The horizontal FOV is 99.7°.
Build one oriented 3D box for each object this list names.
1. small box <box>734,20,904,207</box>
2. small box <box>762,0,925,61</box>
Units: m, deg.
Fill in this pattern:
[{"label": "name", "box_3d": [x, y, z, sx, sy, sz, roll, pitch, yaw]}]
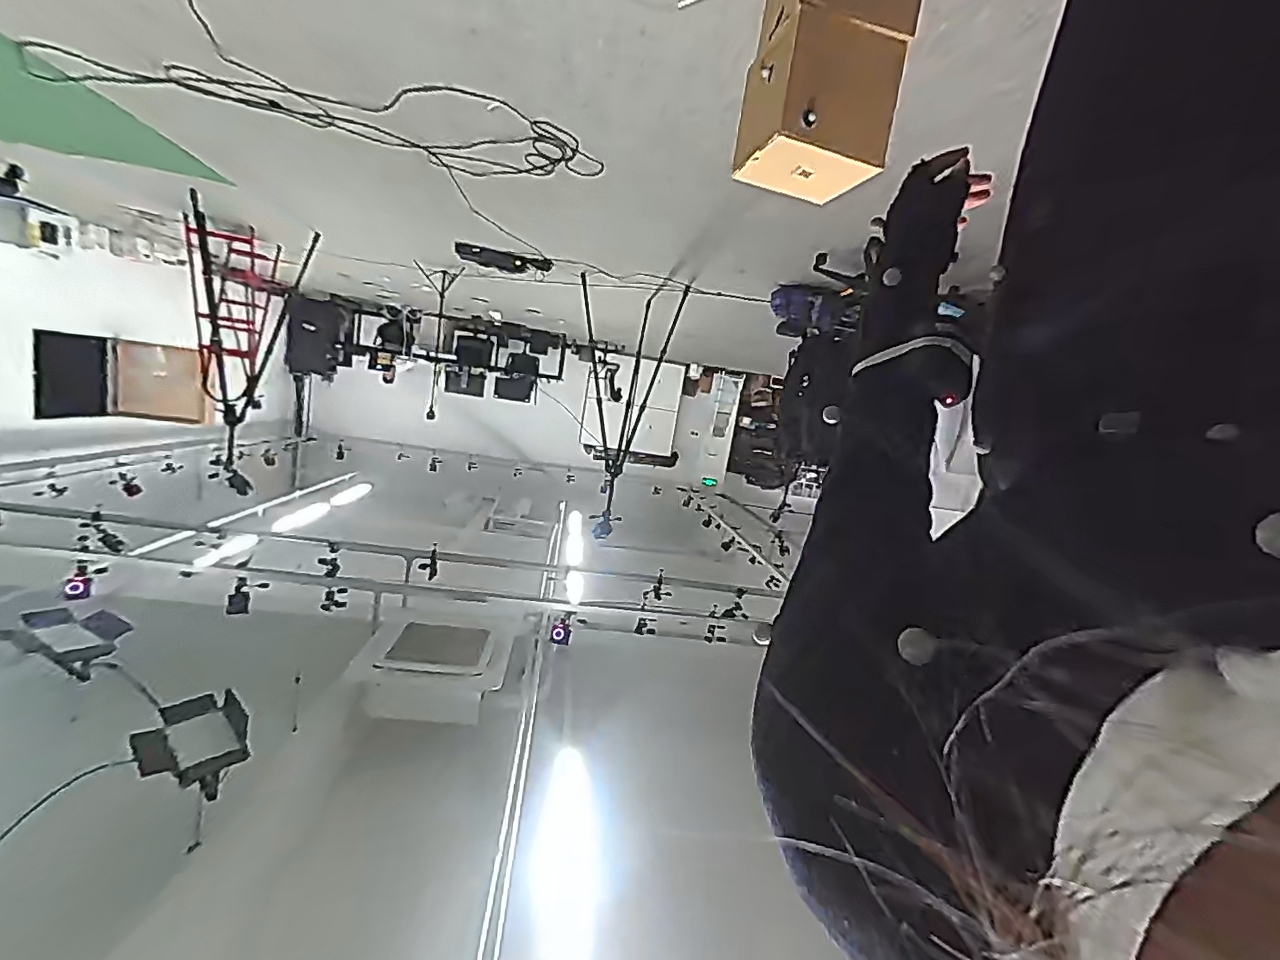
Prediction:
[{"label": "small box", "box_3d": [0.270, -0.550, 0.831, 0.179, 0.176, 0.168, 8, -172, -16]}, {"label": "small box", "box_3d": [0.299, -0.707, 0.801, 0.179, 0.176, 0.168, 7, -172, -11]}]
